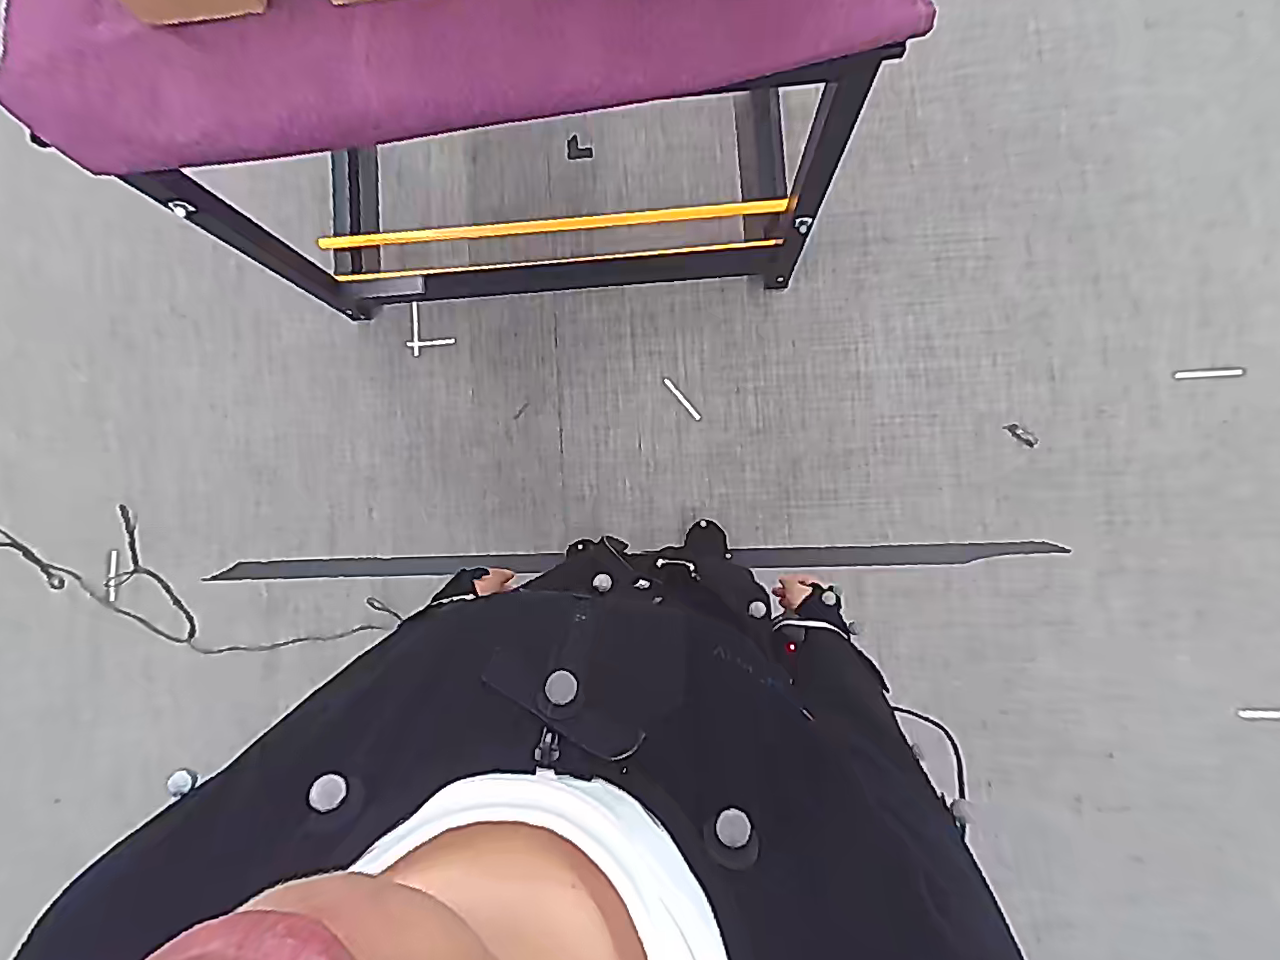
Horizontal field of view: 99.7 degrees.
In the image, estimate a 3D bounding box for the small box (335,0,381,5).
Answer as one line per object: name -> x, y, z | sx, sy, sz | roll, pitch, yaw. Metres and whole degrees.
small box -> -0.346, -0.745, 0.669 | 0.179, 0.176, 0.168 | -3, 85, 5
